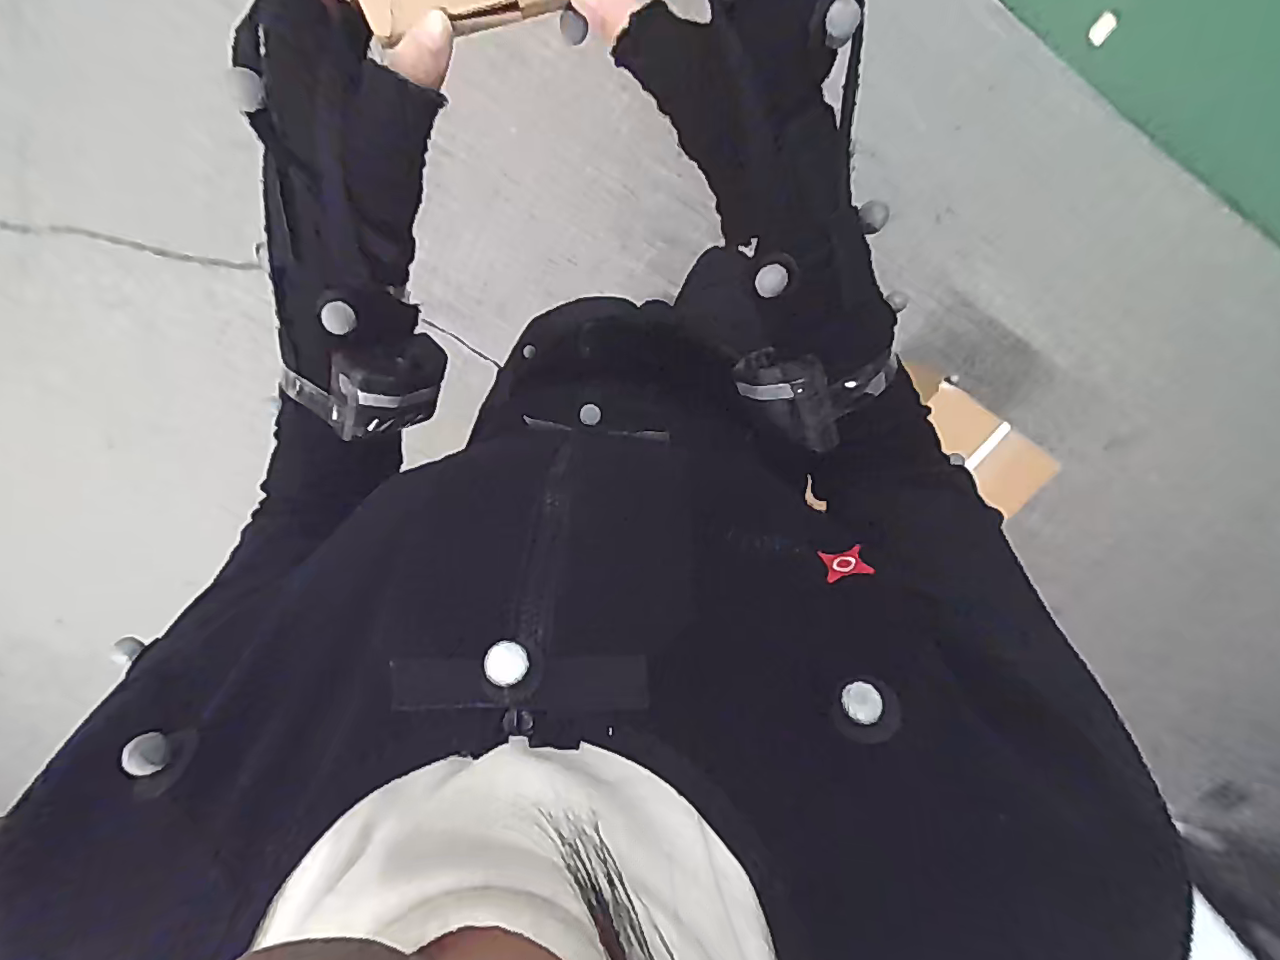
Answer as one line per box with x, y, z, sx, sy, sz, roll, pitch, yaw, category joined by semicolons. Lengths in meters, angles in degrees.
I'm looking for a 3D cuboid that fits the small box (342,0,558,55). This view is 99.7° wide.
-0.063;-0.311;0.222;0.168;0.176;0.179;-15;131;5;small box
